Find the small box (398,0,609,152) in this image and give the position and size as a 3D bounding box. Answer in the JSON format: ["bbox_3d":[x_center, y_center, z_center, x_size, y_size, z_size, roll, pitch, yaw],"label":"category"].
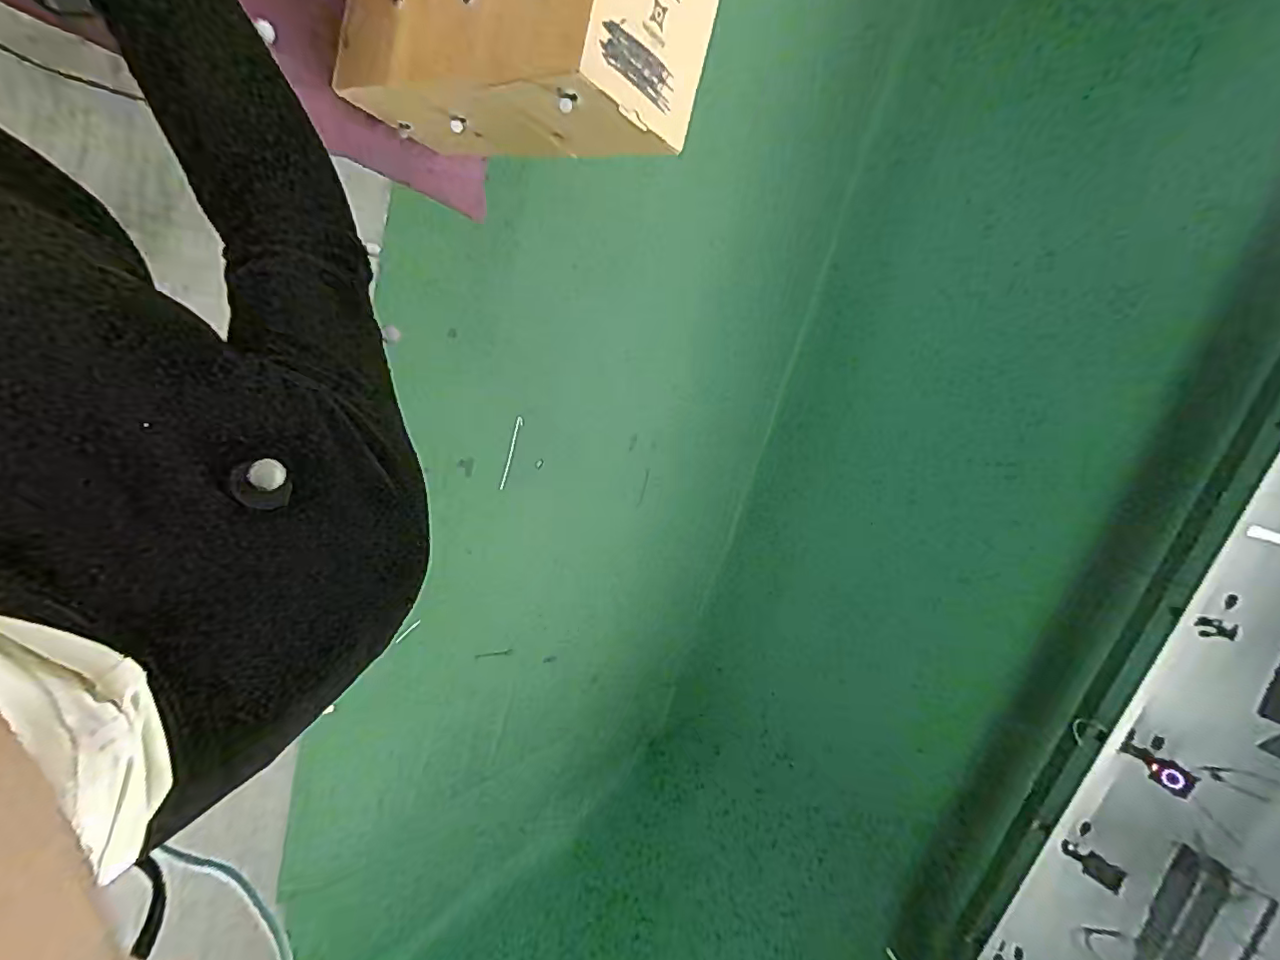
[{"bbox_3d":[-0.171,-0.538,0.668,0.168,0.176,0.179,3,109,-54],"label":"small box"}]

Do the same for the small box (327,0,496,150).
[{"bbox_3d":[-0.298,-0.593,0.756,0.179,0.176,0.168,2,109,-54],"label":"small box"}]
